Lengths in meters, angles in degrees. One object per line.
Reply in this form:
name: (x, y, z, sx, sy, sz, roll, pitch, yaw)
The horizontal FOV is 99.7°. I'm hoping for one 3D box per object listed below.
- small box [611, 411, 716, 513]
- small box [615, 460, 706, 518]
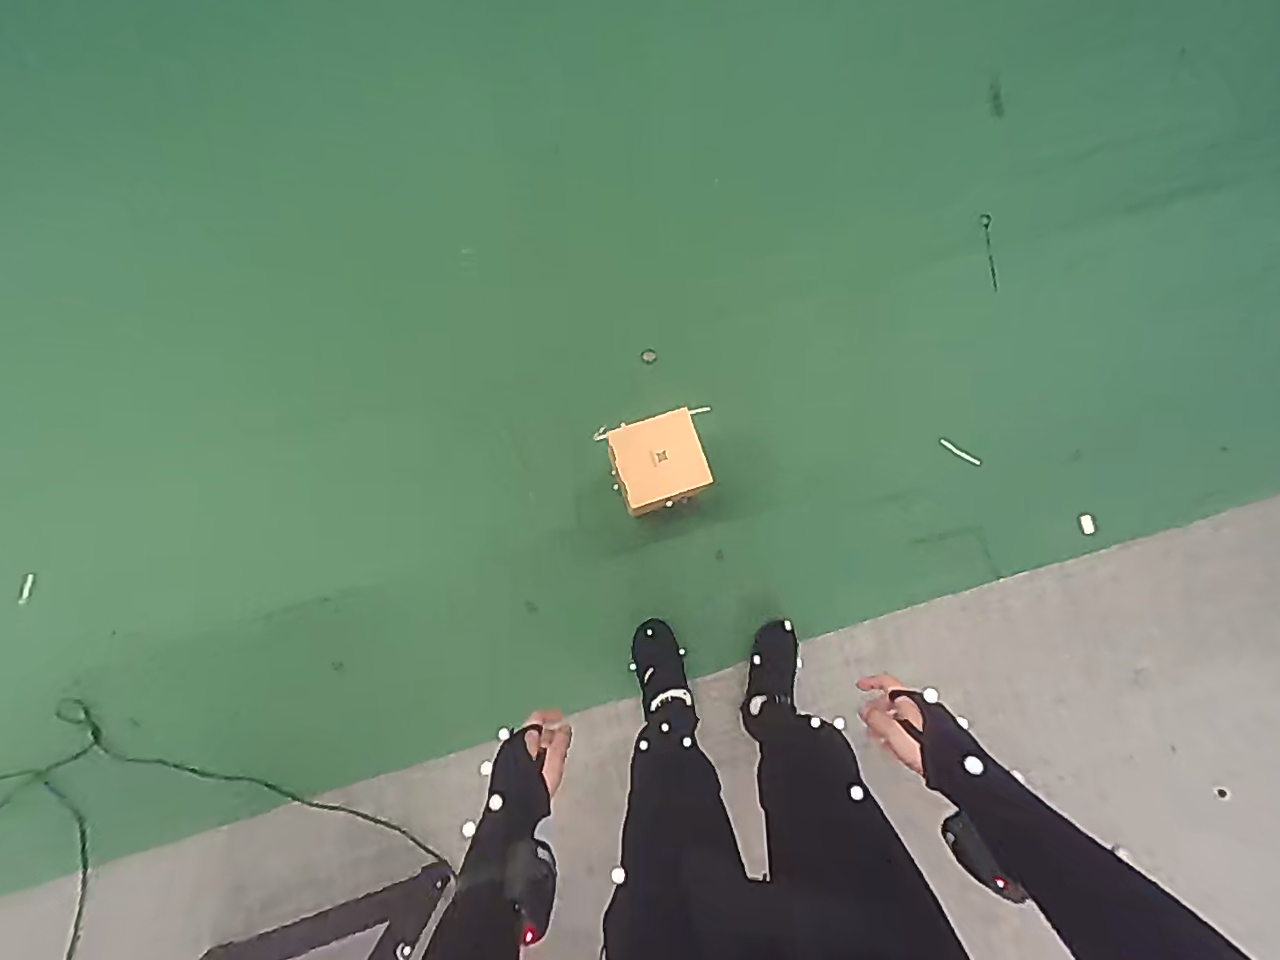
small box: (0.045, -0.032, 1.165, 0.179, 0.176, 0.168, -19, 84, -3)
small box: (0.042, -0.013, 1.326, 0.179, 0.176, 0.168, -20, 84, -3)
